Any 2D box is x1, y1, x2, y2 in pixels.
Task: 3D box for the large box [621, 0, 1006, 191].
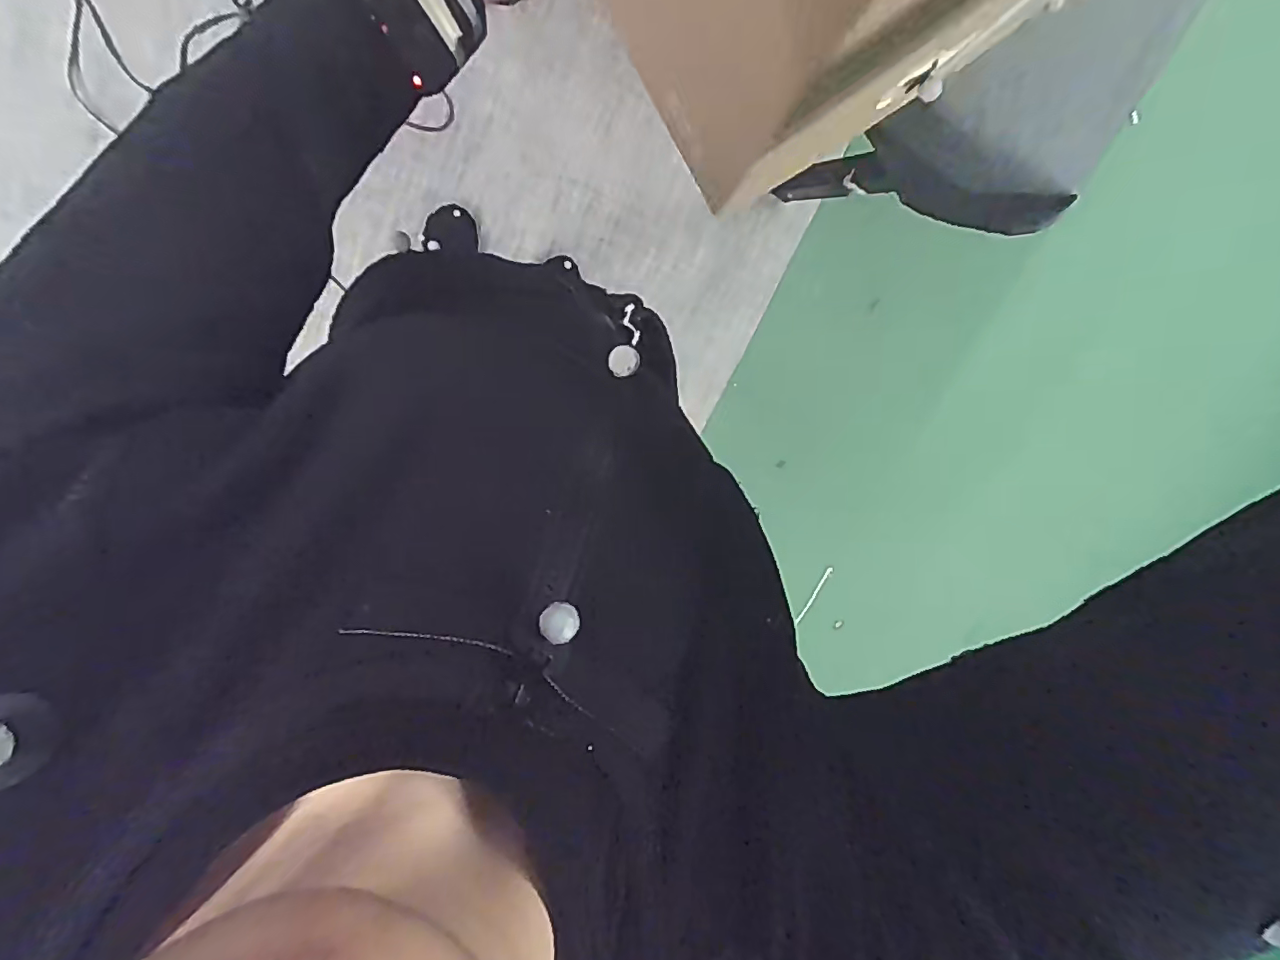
[{"bbox_3d":[0.115,-0.382,0.206,0.320,0.408,0.320,-32,105,9],"label":"large box"}]
